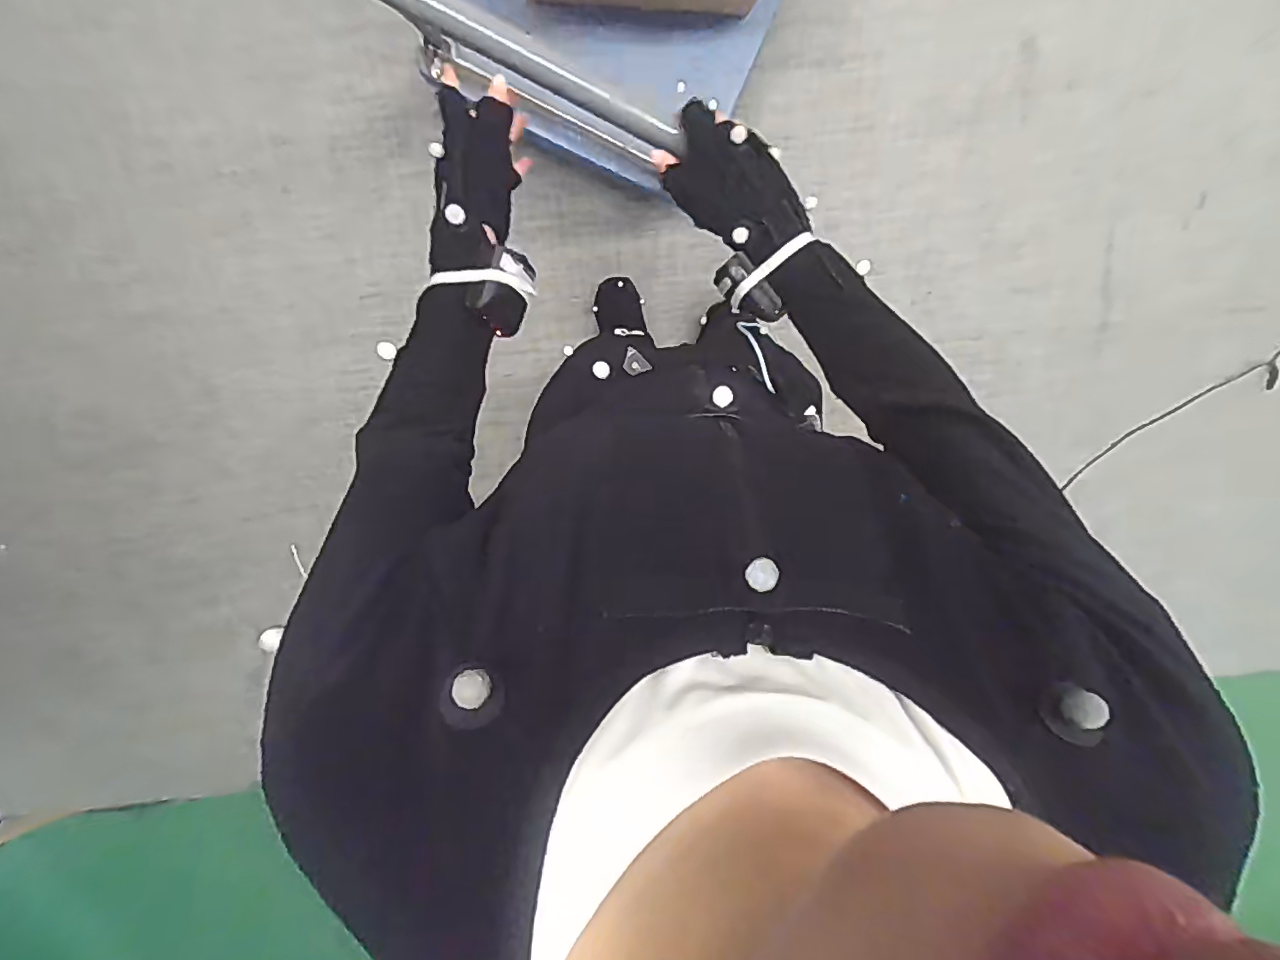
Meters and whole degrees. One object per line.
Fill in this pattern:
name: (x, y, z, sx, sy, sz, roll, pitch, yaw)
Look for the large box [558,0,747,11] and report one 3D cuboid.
large box: (0.003, -0.936, 0.787, 0.408, 0.320, 0.320, 2, 115, -3)
